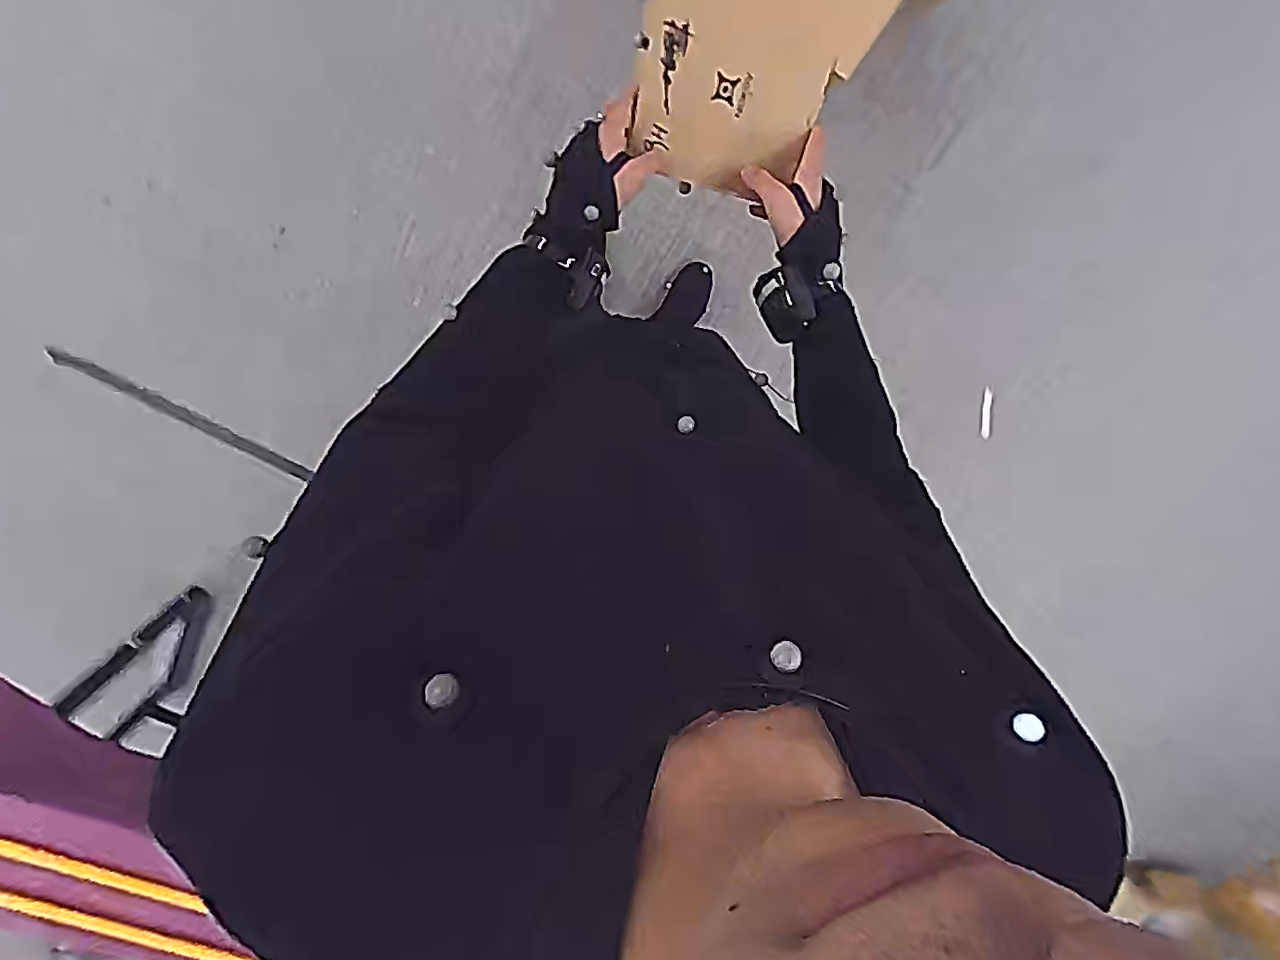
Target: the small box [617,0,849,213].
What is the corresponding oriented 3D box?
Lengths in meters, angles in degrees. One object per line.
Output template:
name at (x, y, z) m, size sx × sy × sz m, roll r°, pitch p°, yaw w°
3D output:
small box at (0.080, -0.405, 0.576) m, size 0.179 × 0.176 × 0.168 m, roll 9°, pitch 122°, yaw -12°
